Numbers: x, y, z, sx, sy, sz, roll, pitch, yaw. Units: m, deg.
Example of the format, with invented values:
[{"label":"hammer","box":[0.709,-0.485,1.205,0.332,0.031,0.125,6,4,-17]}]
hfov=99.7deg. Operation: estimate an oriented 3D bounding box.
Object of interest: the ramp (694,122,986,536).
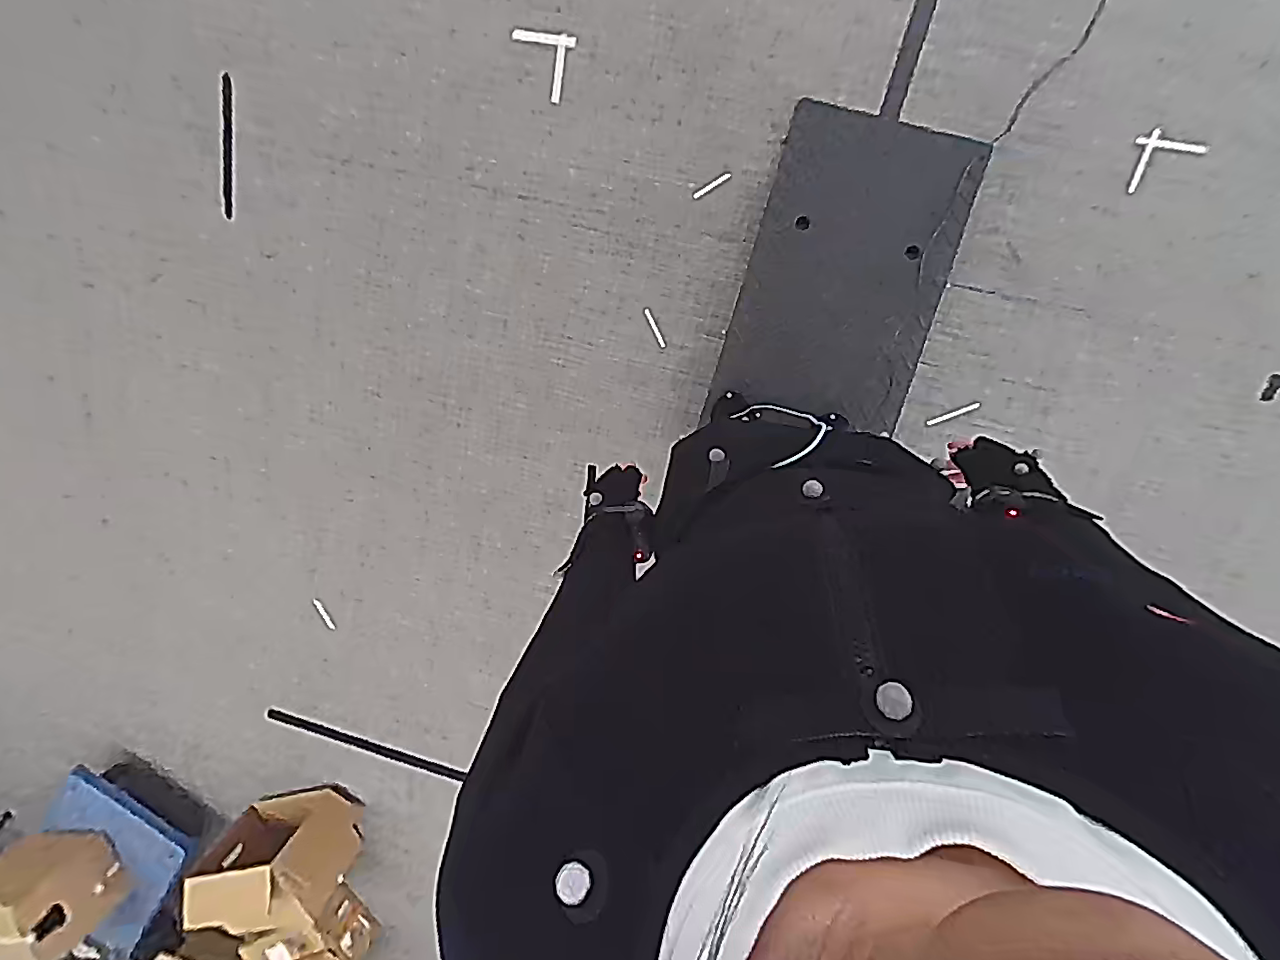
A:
[{"label":"ramp","box":[0.503,-0.391,1.413,0.509,0.206,0.991,14,104,8]}]
